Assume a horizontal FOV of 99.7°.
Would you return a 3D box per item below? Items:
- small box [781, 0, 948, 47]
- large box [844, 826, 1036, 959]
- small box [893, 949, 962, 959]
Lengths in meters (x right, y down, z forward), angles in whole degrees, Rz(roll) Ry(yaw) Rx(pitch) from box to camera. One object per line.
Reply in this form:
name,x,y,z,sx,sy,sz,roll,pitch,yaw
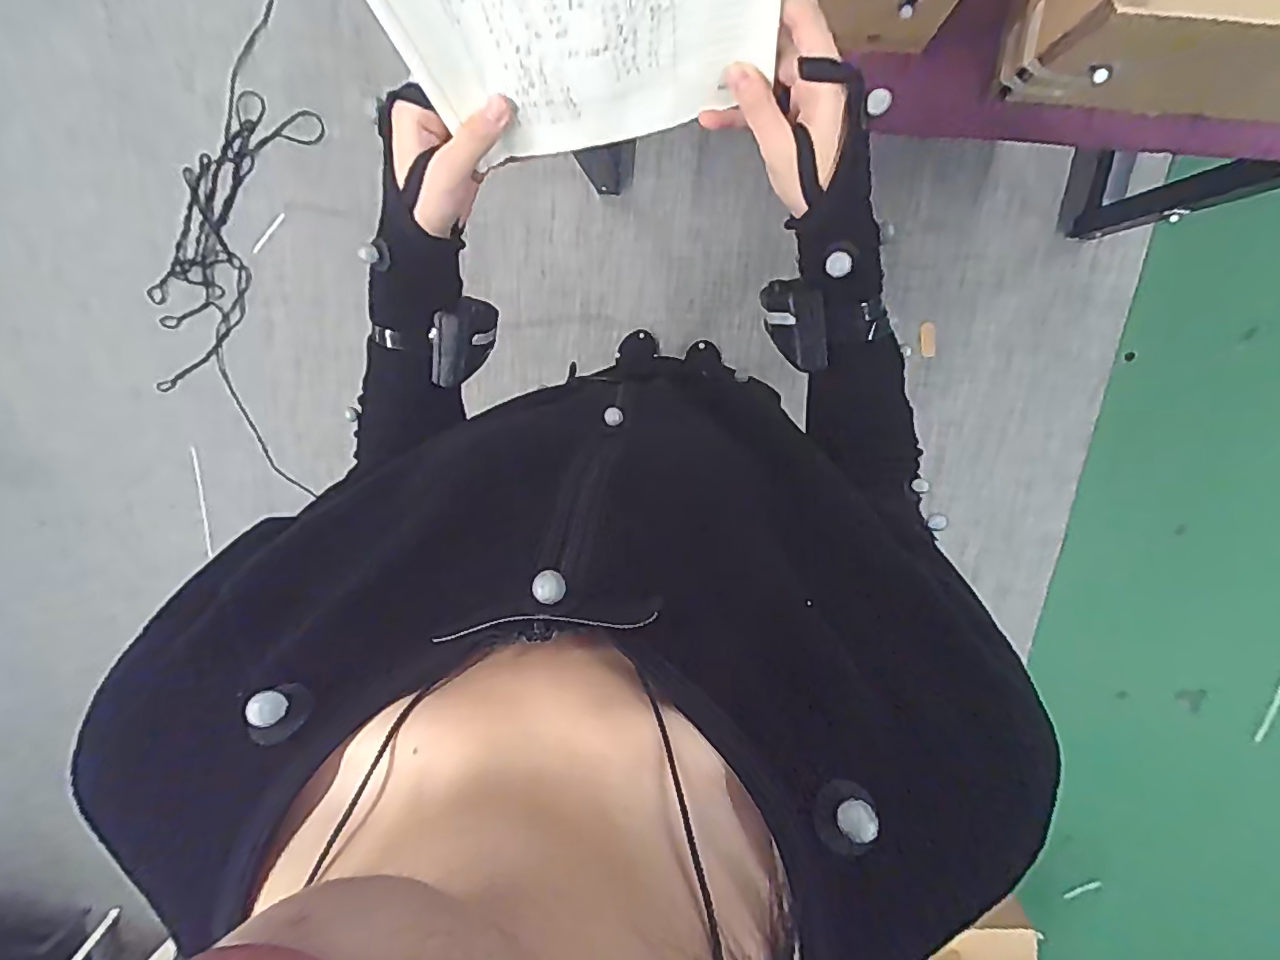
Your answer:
small box,0.240,-0.564,0.523,0.168,0.176,0.179,8,103,4
large box,0.860,1.284,1.596,0.408,0.320,0.320,-8,104,7
small box,0.749,1.335,1.366,0.179,0.176,0.168,-3,103,7
